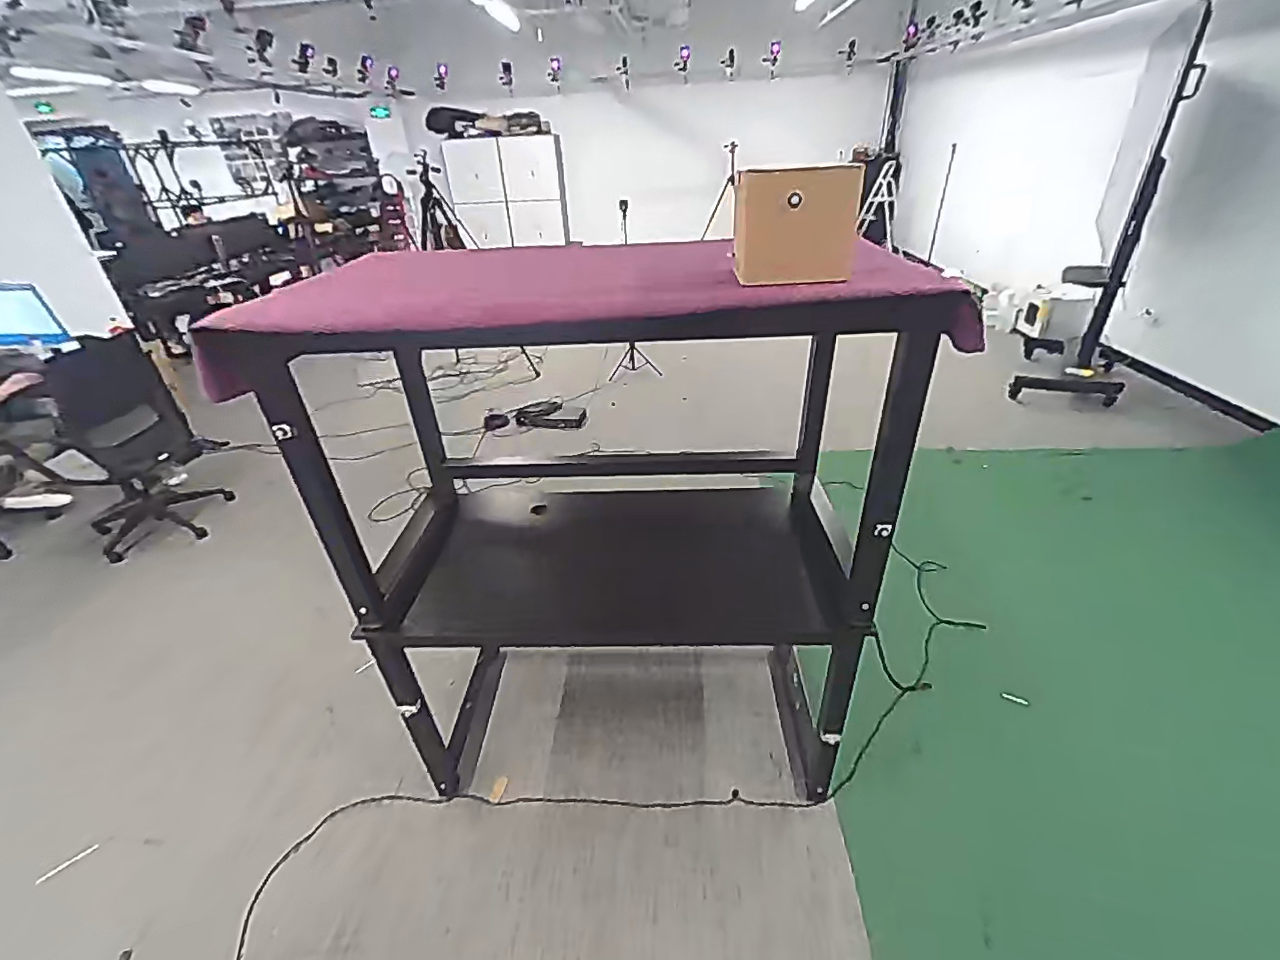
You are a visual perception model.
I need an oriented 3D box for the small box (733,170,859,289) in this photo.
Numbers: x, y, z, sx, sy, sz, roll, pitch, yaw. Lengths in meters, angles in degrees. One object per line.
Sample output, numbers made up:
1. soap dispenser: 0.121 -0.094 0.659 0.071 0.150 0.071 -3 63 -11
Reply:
1. small box: 0.253 -0.429 0.923 0.179 0.176 0.168 -1 31 4
